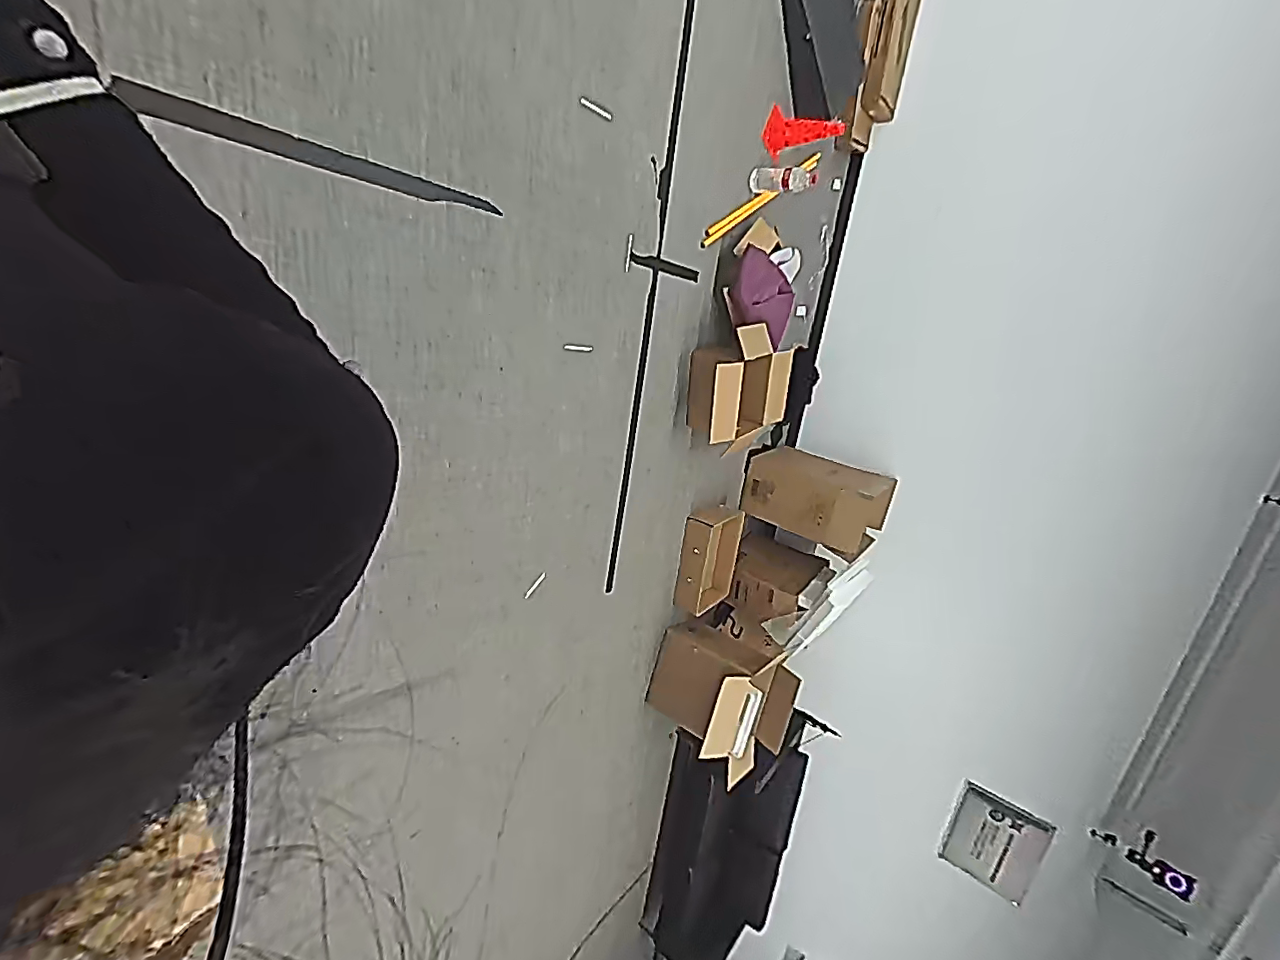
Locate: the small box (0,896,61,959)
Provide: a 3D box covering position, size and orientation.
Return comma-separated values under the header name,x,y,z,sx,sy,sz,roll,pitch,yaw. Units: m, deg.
name,x,y,z,sx,sy,sz,roll,pitch,yaw
small box,-0.955,0.759,0.763,0.179,0.176,0.168,-22,121,-47
